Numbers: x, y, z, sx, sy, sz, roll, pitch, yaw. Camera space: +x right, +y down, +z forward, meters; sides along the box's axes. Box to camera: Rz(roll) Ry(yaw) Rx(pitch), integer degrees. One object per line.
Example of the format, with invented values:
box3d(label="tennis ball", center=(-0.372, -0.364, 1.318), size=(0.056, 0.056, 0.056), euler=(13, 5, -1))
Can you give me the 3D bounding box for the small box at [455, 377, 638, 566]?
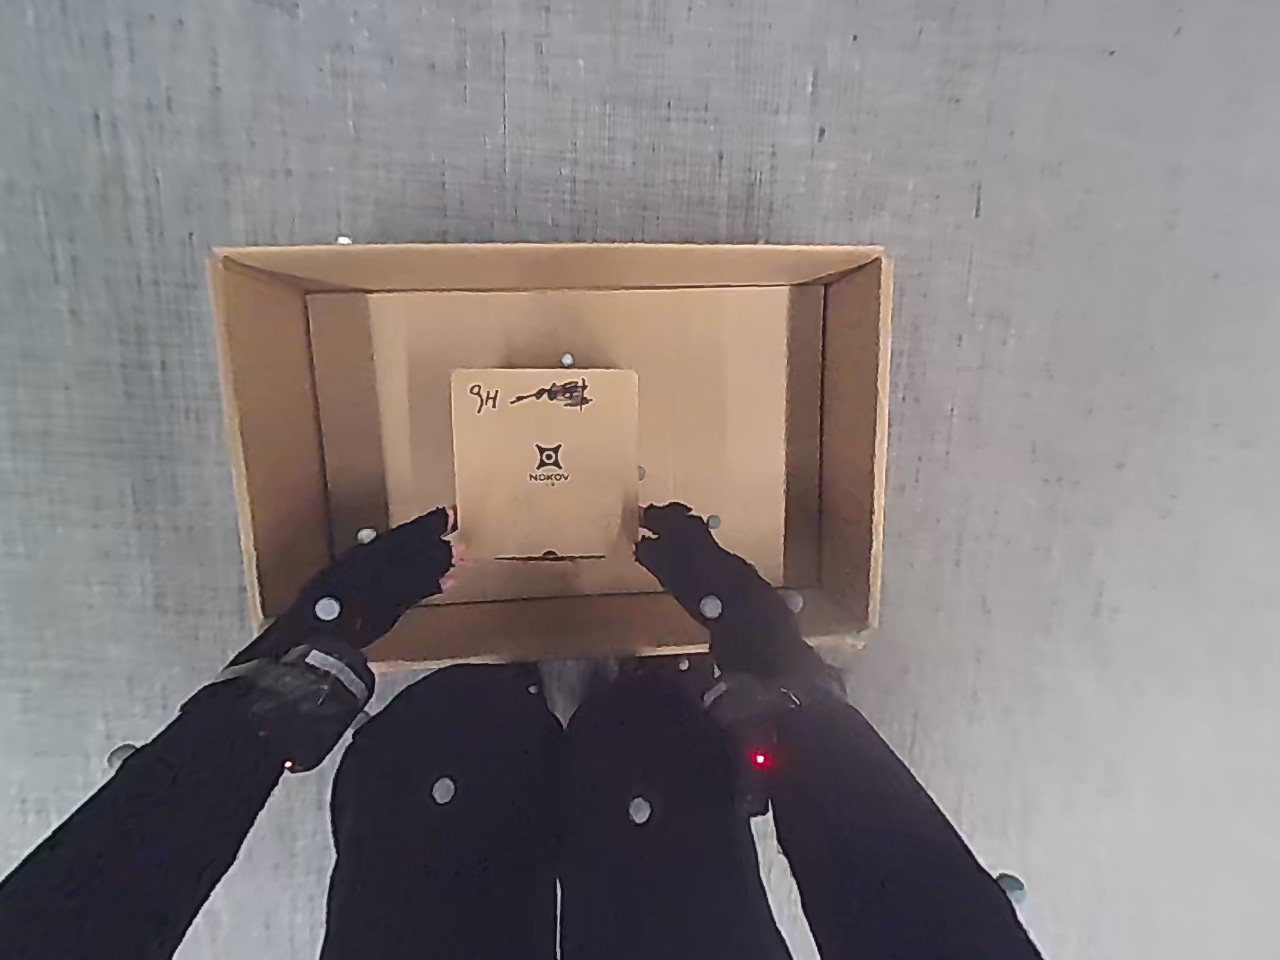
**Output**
box3d(label="small box", center=(-0.088, -0.019, 0.577), size=(0.168, 0.176, 0.179), euler=(-1, 100, -4))
